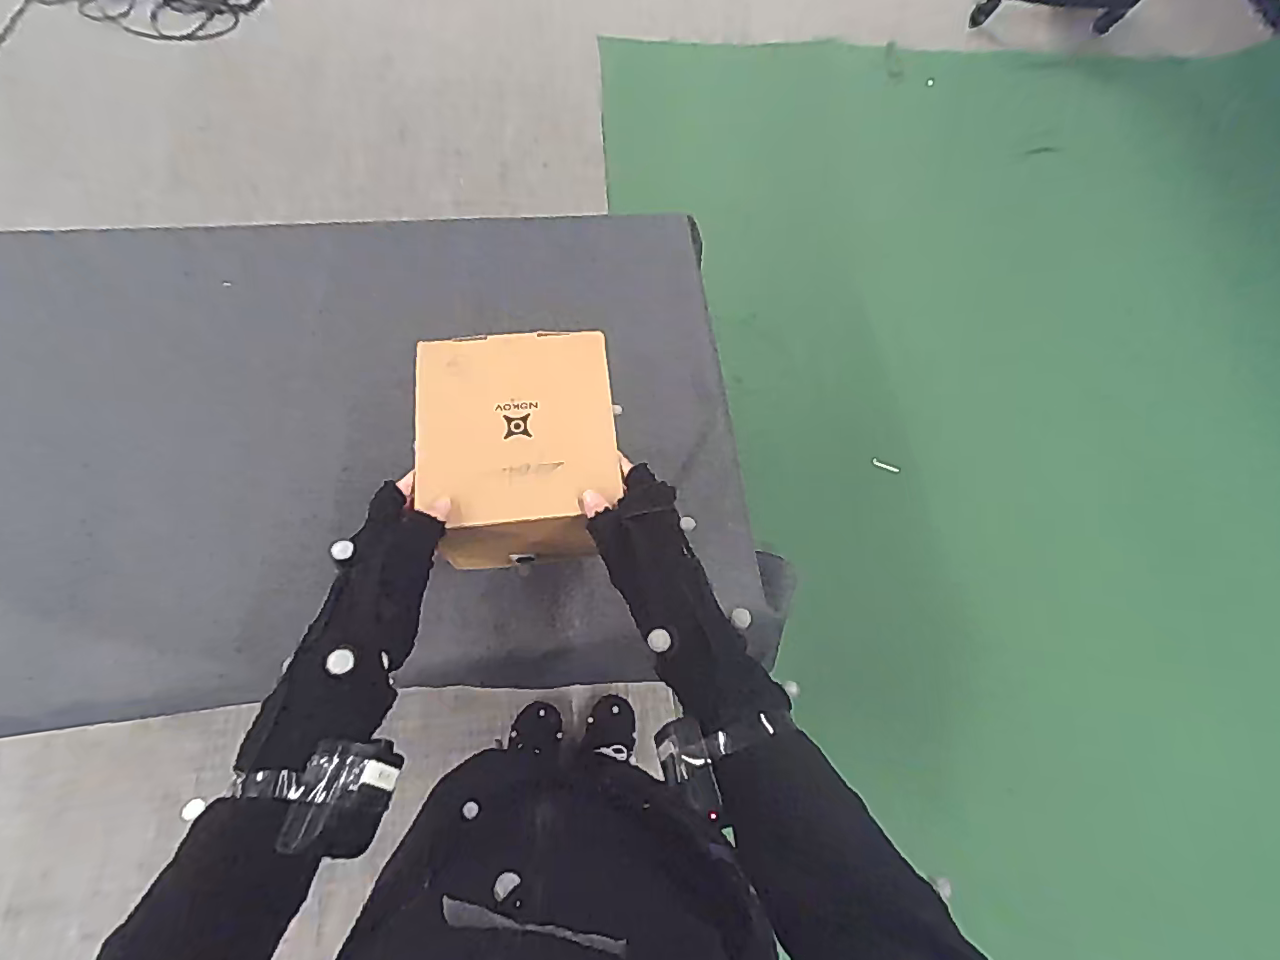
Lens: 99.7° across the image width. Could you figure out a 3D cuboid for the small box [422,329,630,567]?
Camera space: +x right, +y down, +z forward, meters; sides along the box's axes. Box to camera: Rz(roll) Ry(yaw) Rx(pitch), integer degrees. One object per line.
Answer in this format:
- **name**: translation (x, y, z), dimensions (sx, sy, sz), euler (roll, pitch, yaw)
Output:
- **small box**: translation (-0.105, -0.023, 0.530), dimensions (0.168, 0.176, 0.179), euler (-6, 71, -6)
